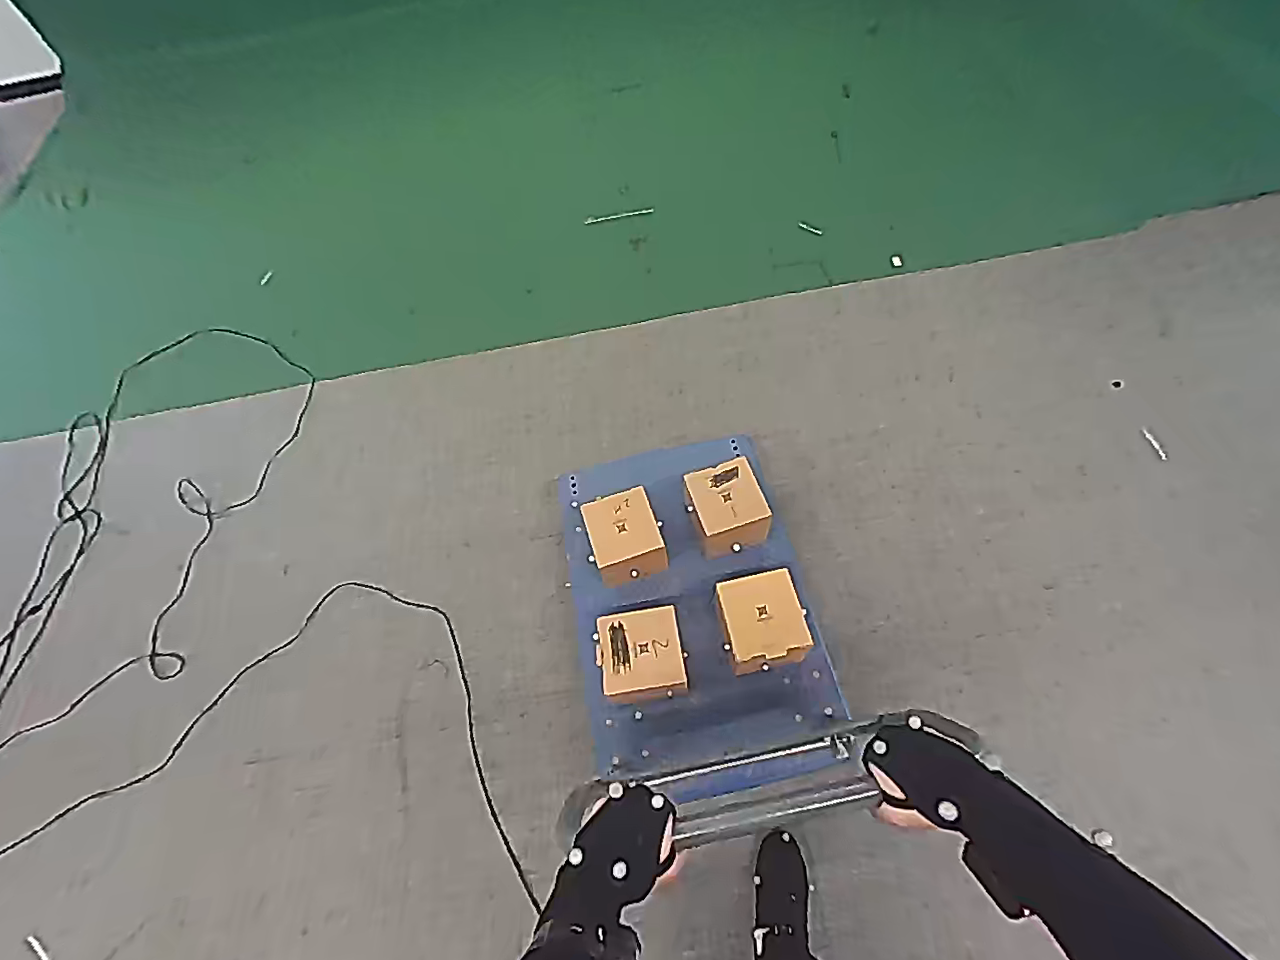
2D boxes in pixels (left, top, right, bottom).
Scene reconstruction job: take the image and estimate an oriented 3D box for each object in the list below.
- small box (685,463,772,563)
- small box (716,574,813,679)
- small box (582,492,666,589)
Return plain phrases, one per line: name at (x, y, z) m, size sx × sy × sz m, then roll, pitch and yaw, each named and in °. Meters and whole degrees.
small box at (0.219, 0.089, 1.381) m, size 0.168 × 0.176 × 0.179 m, roll -17°, pitch 61°, yaw -3°
small box at (0.274, 0.338, 1.237) m, size 0.168 × 0.176 × 0.179 m, roll -12°, pitch 61°, yaw -1°
small box at (-0.036, 0.162, 1.368) m, size 0.168 × 0.176 × 0.179 m, roll -17°, pitch 60°, yaw -5°
